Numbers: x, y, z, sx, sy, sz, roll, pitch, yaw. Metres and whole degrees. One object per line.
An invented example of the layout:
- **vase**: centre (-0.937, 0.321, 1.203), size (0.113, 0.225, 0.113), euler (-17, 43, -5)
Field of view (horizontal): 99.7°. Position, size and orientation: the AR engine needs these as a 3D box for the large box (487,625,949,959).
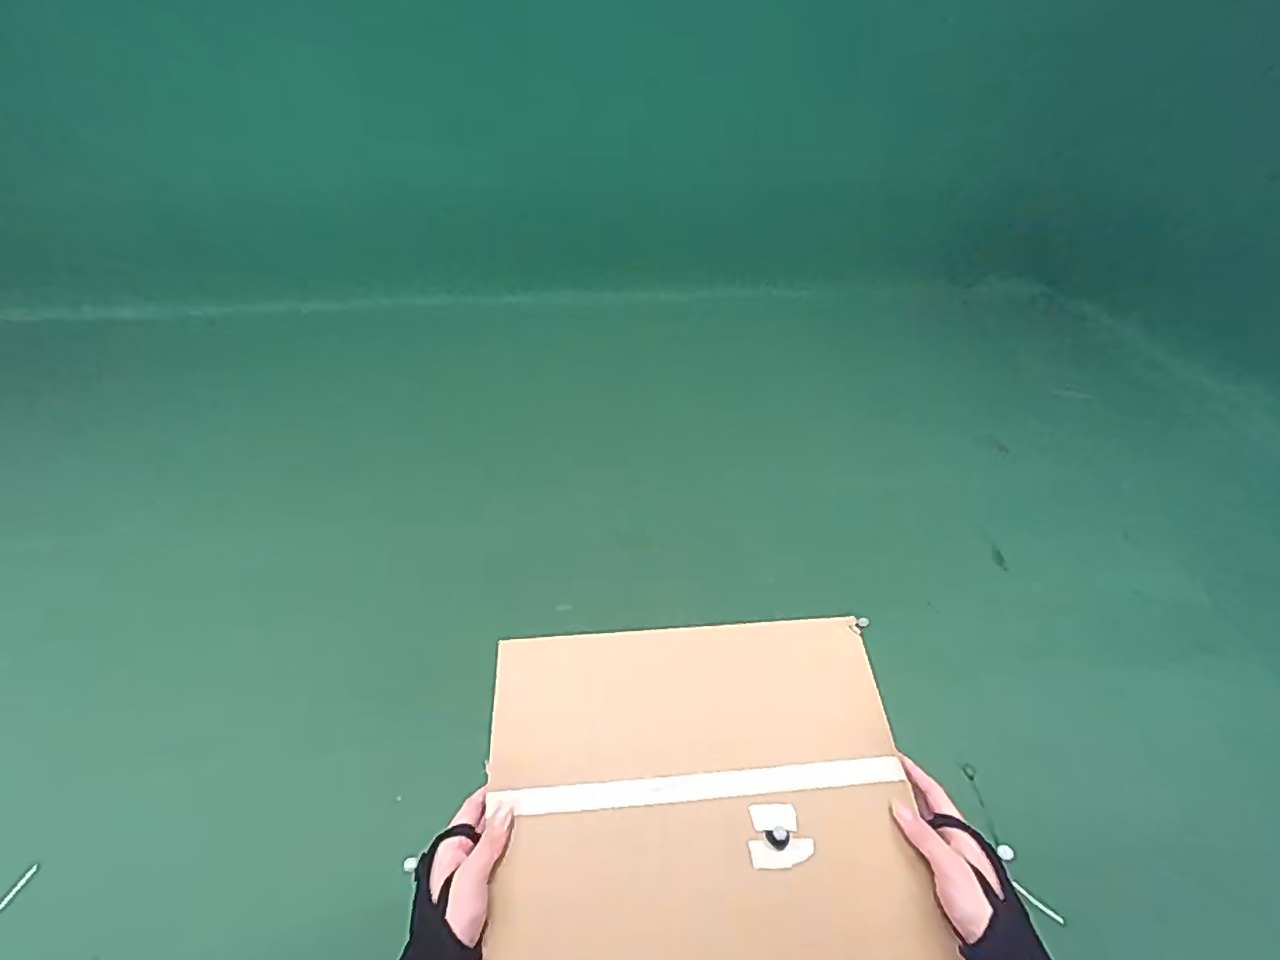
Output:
- **large box**: centre (0.052, 0.394, 0.653), size (0.408, 0.320, 0.320), euler (-3, 55, -4)
